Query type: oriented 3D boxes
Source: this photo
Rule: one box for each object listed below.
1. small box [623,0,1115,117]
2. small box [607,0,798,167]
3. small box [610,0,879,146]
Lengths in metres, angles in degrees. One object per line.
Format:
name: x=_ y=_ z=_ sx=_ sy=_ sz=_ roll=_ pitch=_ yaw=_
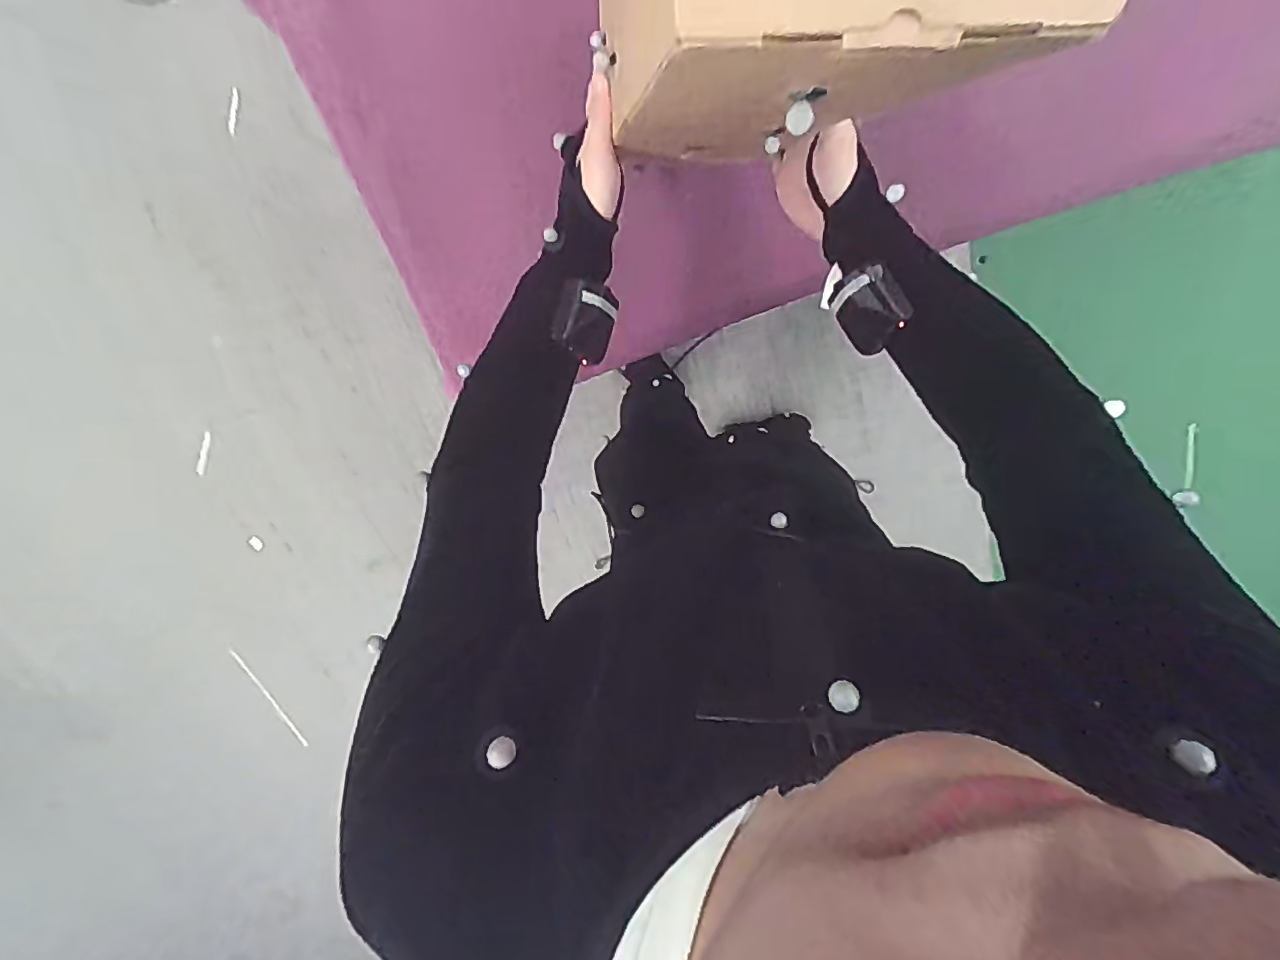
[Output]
small box: x=0.079 y=-0.266 z=0.228 sx=0.168 sy=0.176 sz=0.179 roll=-5 pitch=116 yaw=-4
small box: x=0.055 y=-0.408 z=0.521 sx=0.168 sy=0.176 sz=0.179 roll=-4 pitch=114 yaw=-4
small box: x=0.066 y=-0.339 z=0.373 sx=0.168 sy=0.176 sz=0.179 roll=-4 pitch=115 yaw=-4
